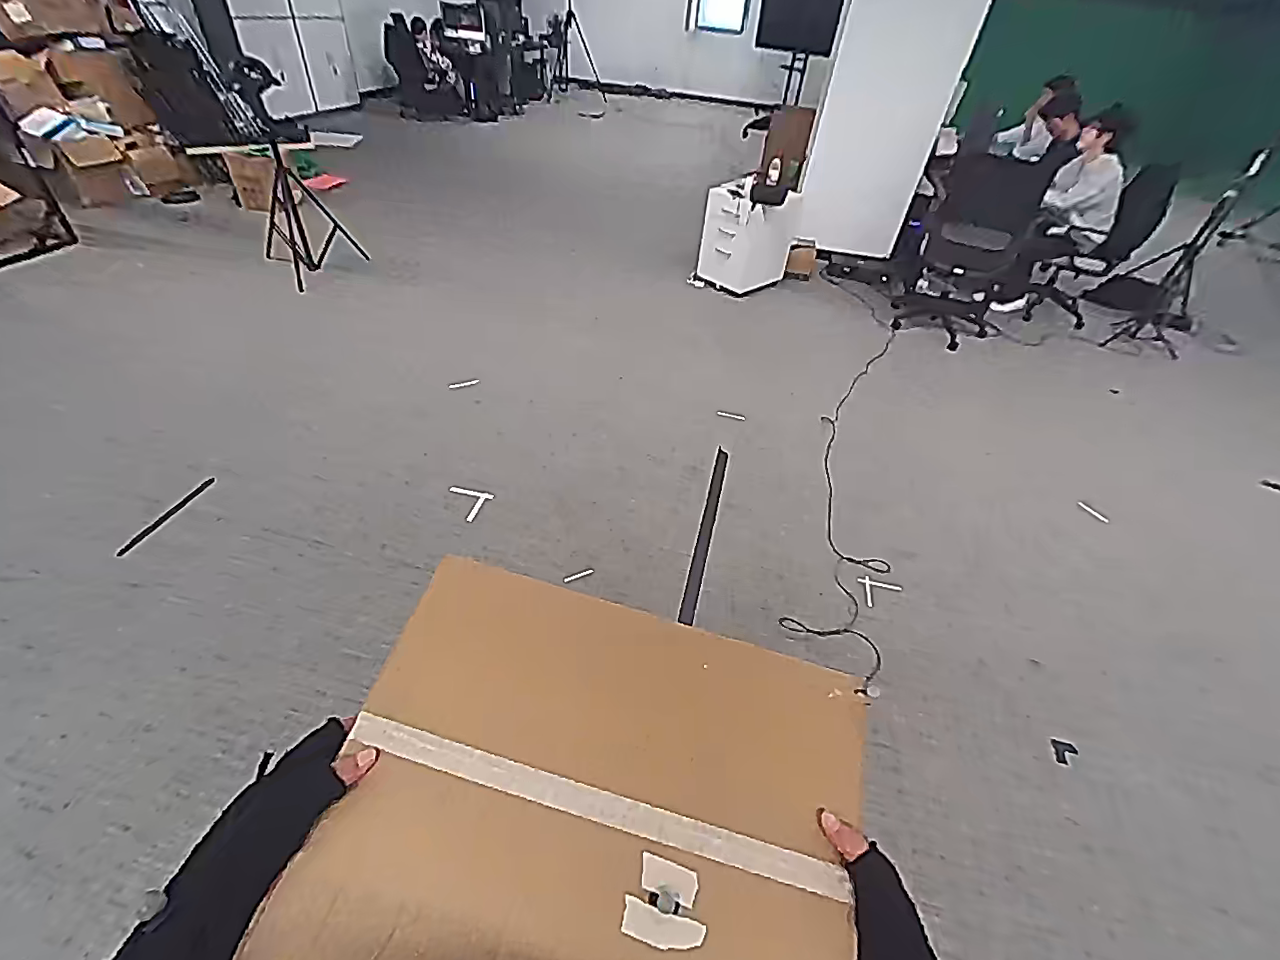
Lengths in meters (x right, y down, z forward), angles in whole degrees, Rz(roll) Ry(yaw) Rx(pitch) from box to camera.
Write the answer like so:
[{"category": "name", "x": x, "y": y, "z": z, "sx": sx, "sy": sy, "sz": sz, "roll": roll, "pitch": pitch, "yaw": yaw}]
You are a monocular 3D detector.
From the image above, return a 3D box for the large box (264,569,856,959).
[{"category": "large box", "x": -0.043, "y": 0.336, "z": 0.557, "sx": 0.408, "sy": 0.320, "sz": 0.320, "roll": 16, "pitch": 59, "yaw": 4}]
